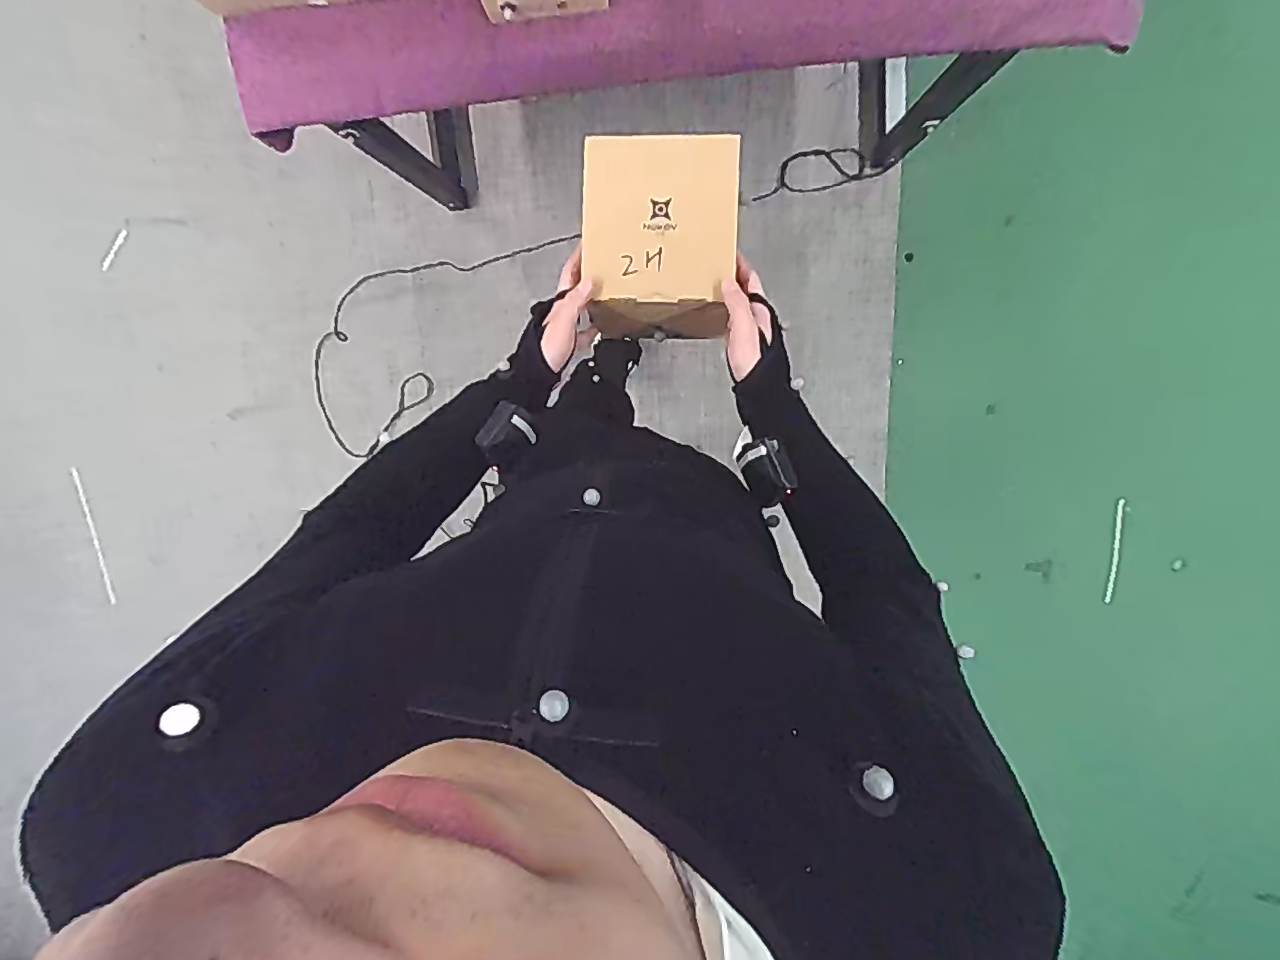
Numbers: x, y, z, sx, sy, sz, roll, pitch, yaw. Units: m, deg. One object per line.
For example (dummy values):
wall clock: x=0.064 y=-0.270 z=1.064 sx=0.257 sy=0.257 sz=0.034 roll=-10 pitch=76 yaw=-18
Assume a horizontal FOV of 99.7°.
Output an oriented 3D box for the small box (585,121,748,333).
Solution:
small box: x=0.032 y=-0.286 z=0.640 sx=0.168 sy=0.176 sz=0.179 roll=2 pitch=91 yaw=5
